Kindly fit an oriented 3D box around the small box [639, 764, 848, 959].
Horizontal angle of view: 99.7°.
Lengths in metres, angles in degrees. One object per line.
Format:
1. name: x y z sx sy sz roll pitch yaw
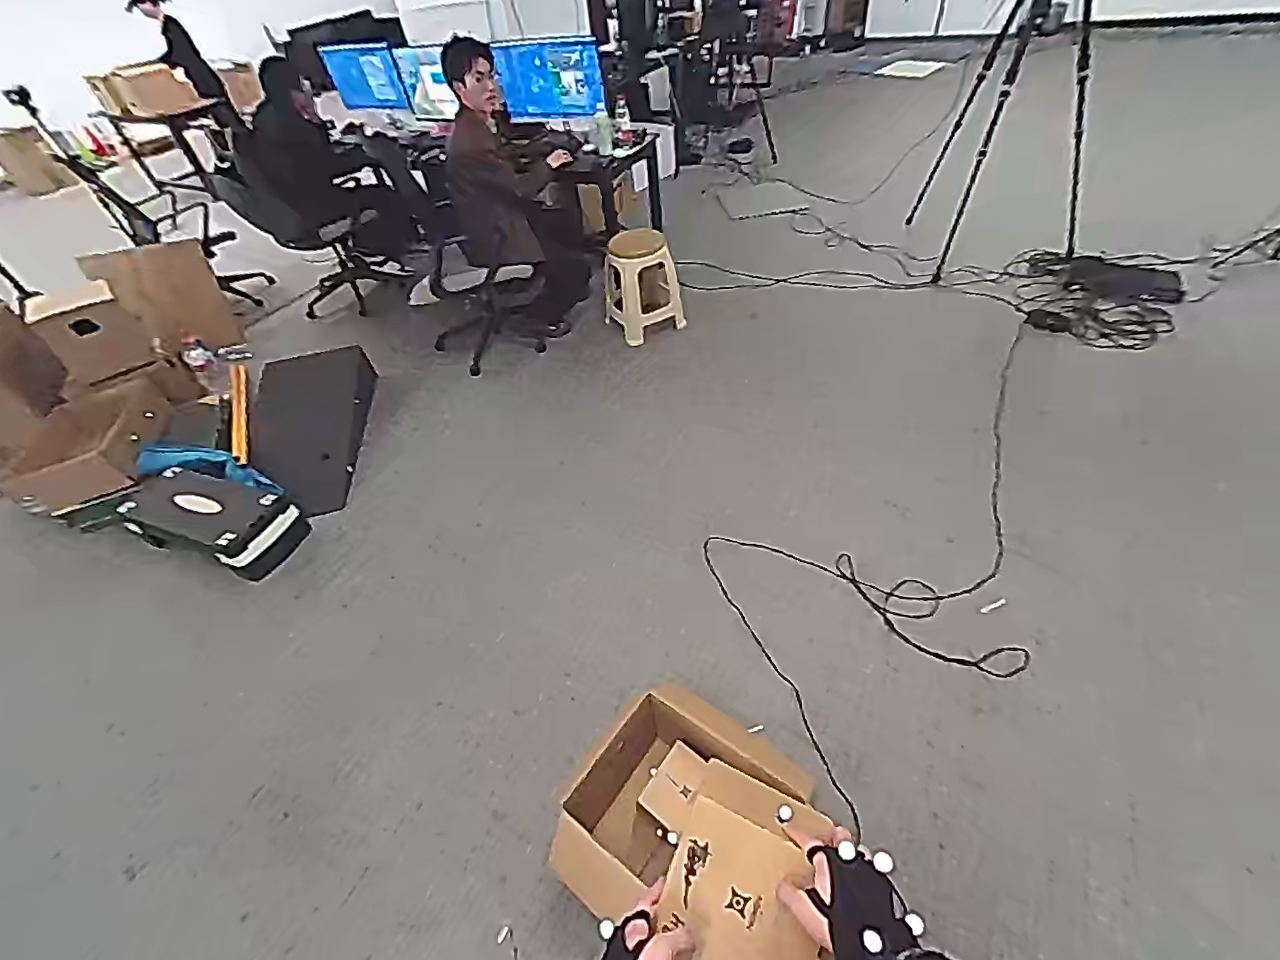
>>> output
1. small box: 0.125 0.475 0.650 0.179 0.176 0.168 22 82 17
